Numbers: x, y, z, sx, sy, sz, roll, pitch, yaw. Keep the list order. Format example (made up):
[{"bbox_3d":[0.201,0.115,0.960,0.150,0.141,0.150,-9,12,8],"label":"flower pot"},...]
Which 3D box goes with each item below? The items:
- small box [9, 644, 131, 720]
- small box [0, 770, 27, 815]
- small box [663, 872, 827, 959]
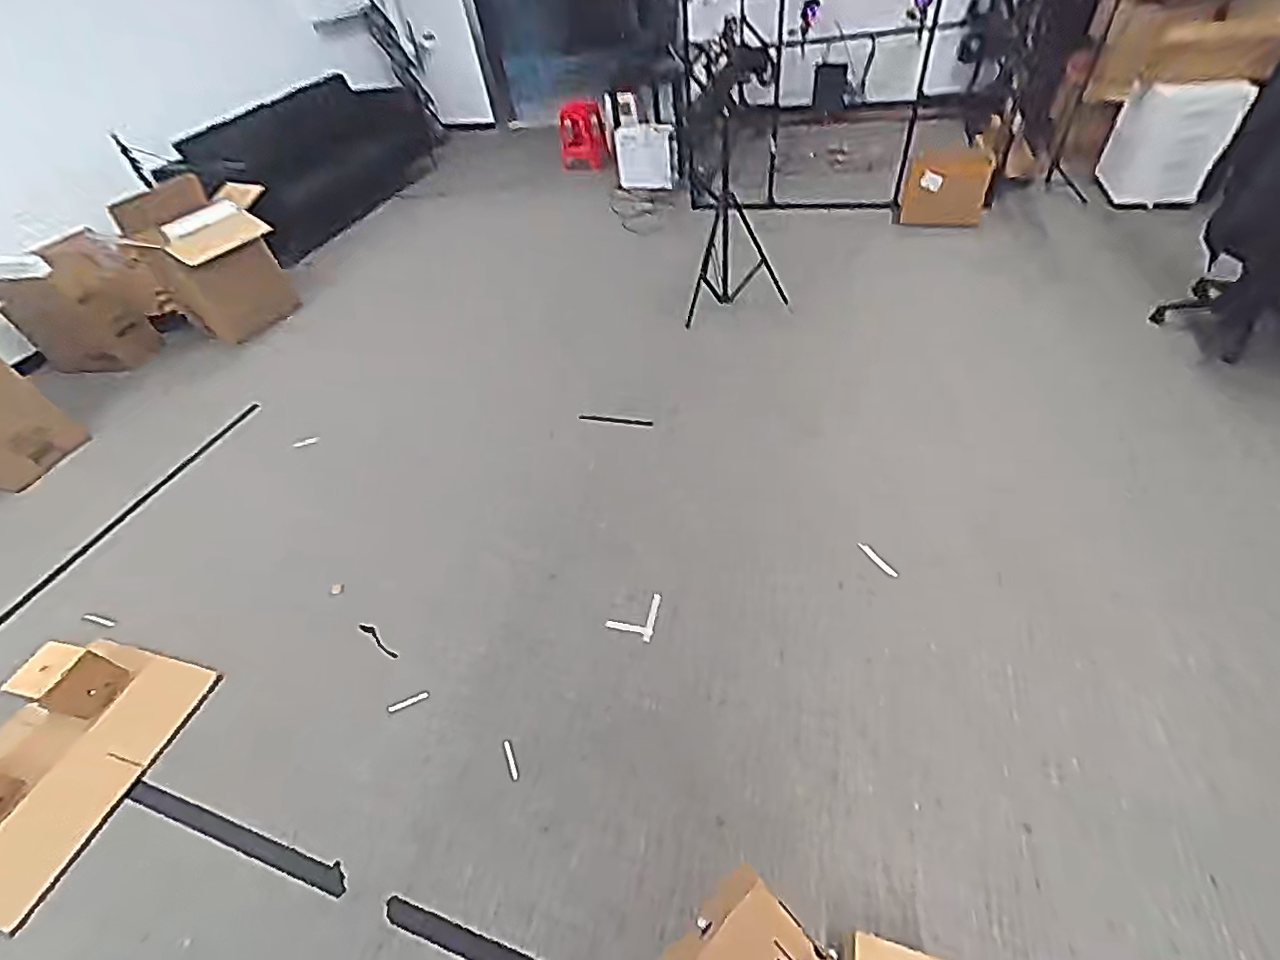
[{"bbox_3d":[-1.836,0.657,1.752,0.179,0.176,0.168,4,47,13],"label":"small box"},{"bbox_3d":[-1.933,0.897,1.526,0.179,0.176,0.168,7,49,15],"label":"small box"},{"bbox_3d":[0.117,0.559,0.574,0.179,0.176,0.168,-41,65,-19],"label":"small box"}]
